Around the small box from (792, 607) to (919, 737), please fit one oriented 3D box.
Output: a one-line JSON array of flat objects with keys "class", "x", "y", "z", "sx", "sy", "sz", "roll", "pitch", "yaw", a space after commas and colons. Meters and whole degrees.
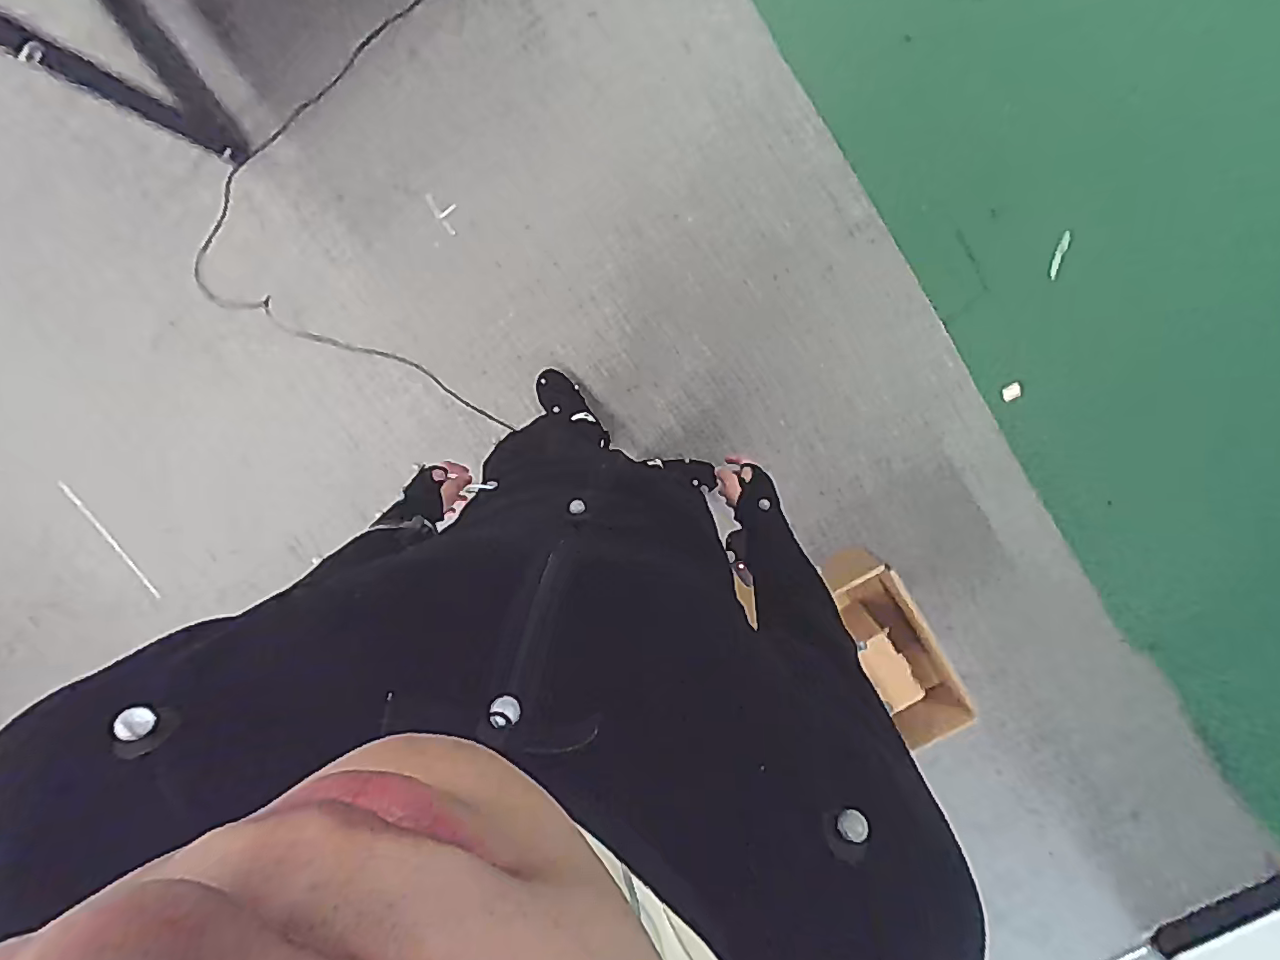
[{"class": "small box", "x": 0.455, "y": 0.406, "z": 1.170, "sx": 0.179, "sy": 0.176, "sz": 0.168, "roll": -33, "pitch": 96, "yaw": 10}]
